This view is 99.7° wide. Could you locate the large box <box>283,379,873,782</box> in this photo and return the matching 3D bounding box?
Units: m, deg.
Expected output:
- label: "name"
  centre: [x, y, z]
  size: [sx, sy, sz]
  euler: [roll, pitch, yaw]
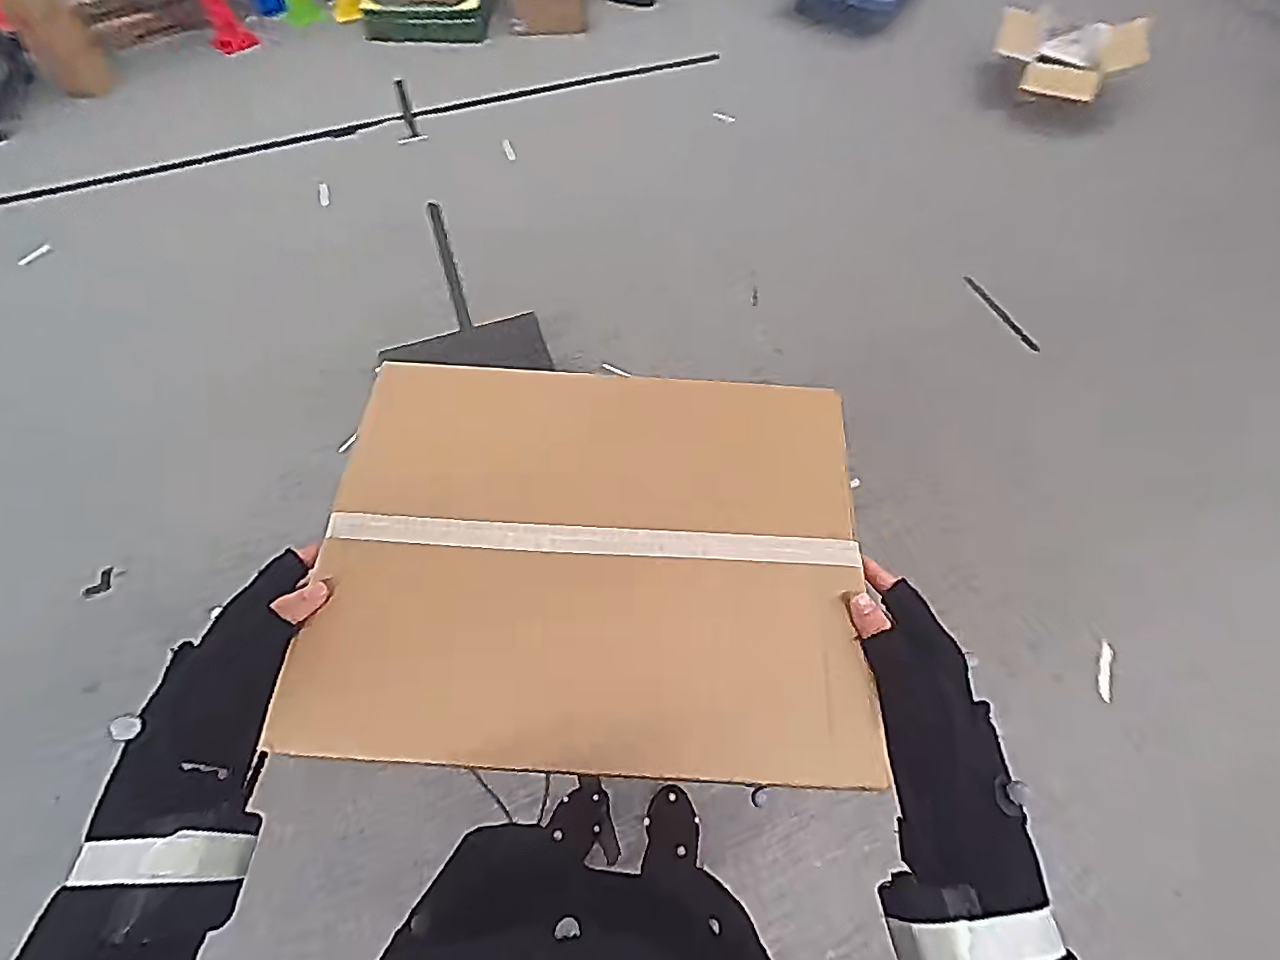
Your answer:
- label: "large box"
  centre: [-0.038, 0.118, 0.558]
  size: [0.408, 0.320, 0.320]
  euler: [3, 63, -1]
